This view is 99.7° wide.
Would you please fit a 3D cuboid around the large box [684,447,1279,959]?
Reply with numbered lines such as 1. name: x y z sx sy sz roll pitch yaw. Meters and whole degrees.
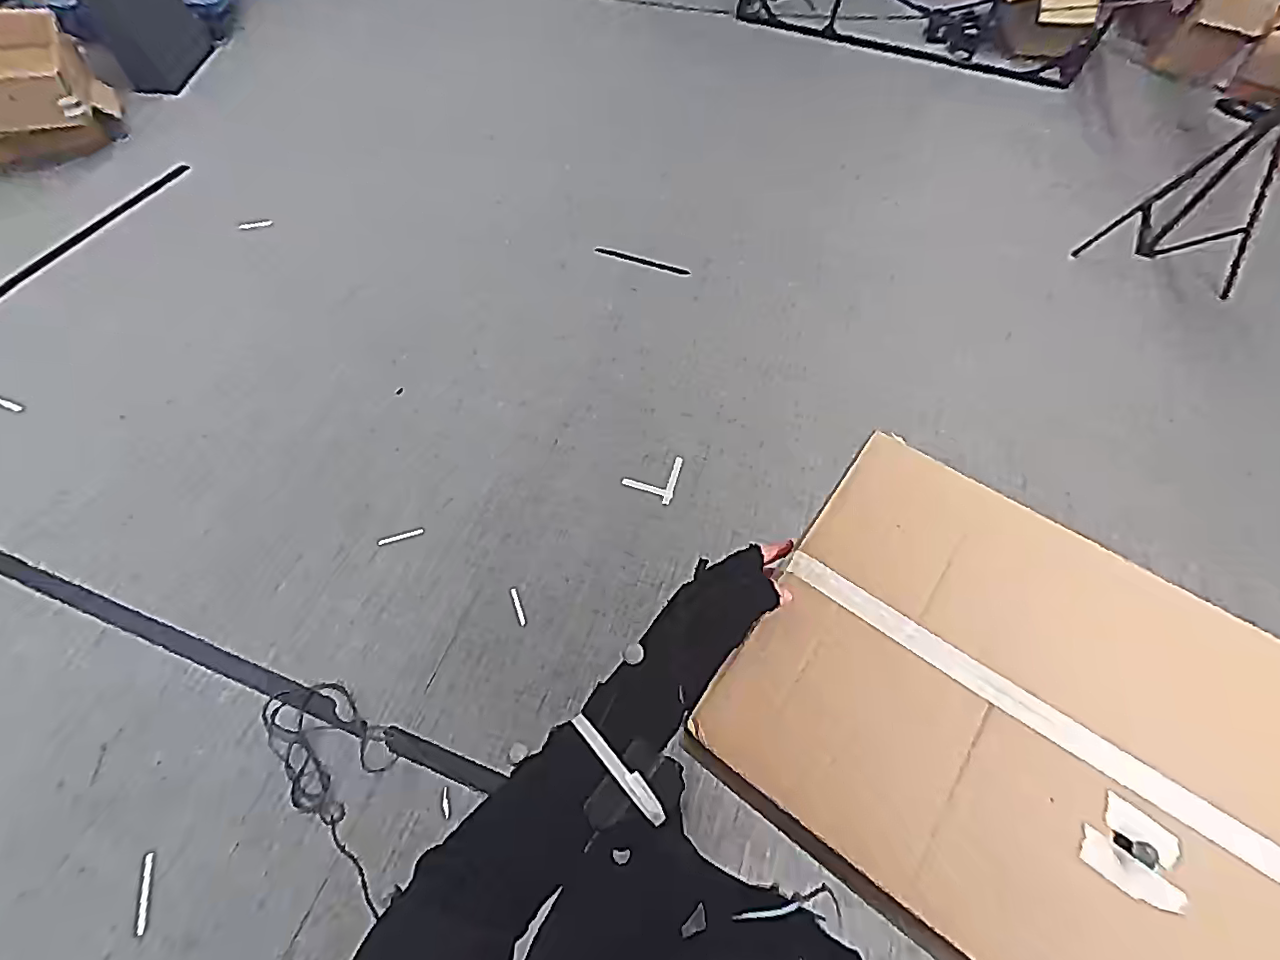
1. large box: 0.292 0.243 0.526 0.408 0.320 0.320 33 70 18
